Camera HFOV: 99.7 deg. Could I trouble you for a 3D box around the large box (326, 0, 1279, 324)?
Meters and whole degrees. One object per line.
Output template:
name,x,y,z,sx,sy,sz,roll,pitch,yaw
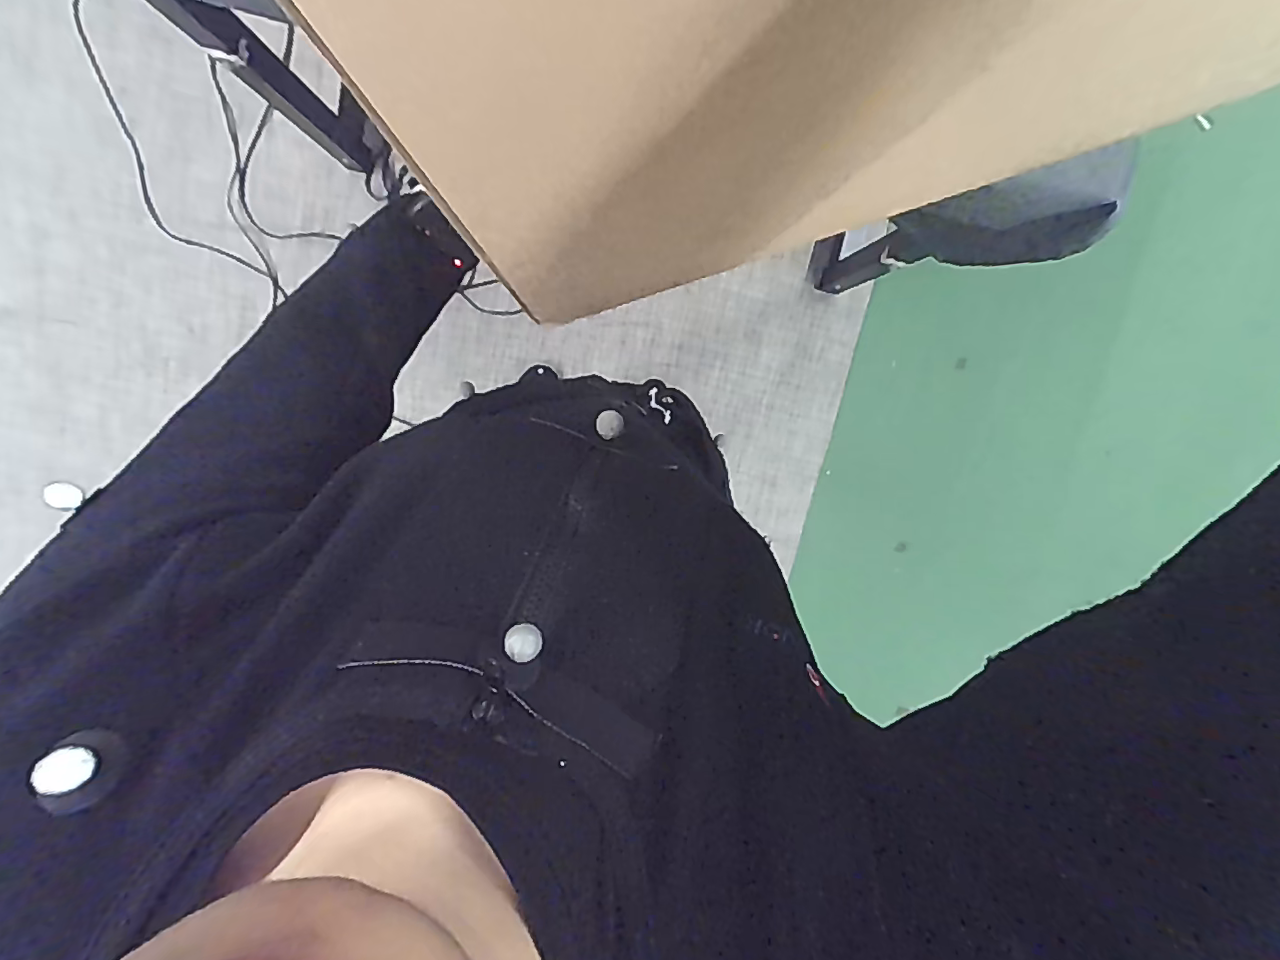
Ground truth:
large box,0.069,-0.340,0.247,0.408,0.320,0.320,-16,62,16
